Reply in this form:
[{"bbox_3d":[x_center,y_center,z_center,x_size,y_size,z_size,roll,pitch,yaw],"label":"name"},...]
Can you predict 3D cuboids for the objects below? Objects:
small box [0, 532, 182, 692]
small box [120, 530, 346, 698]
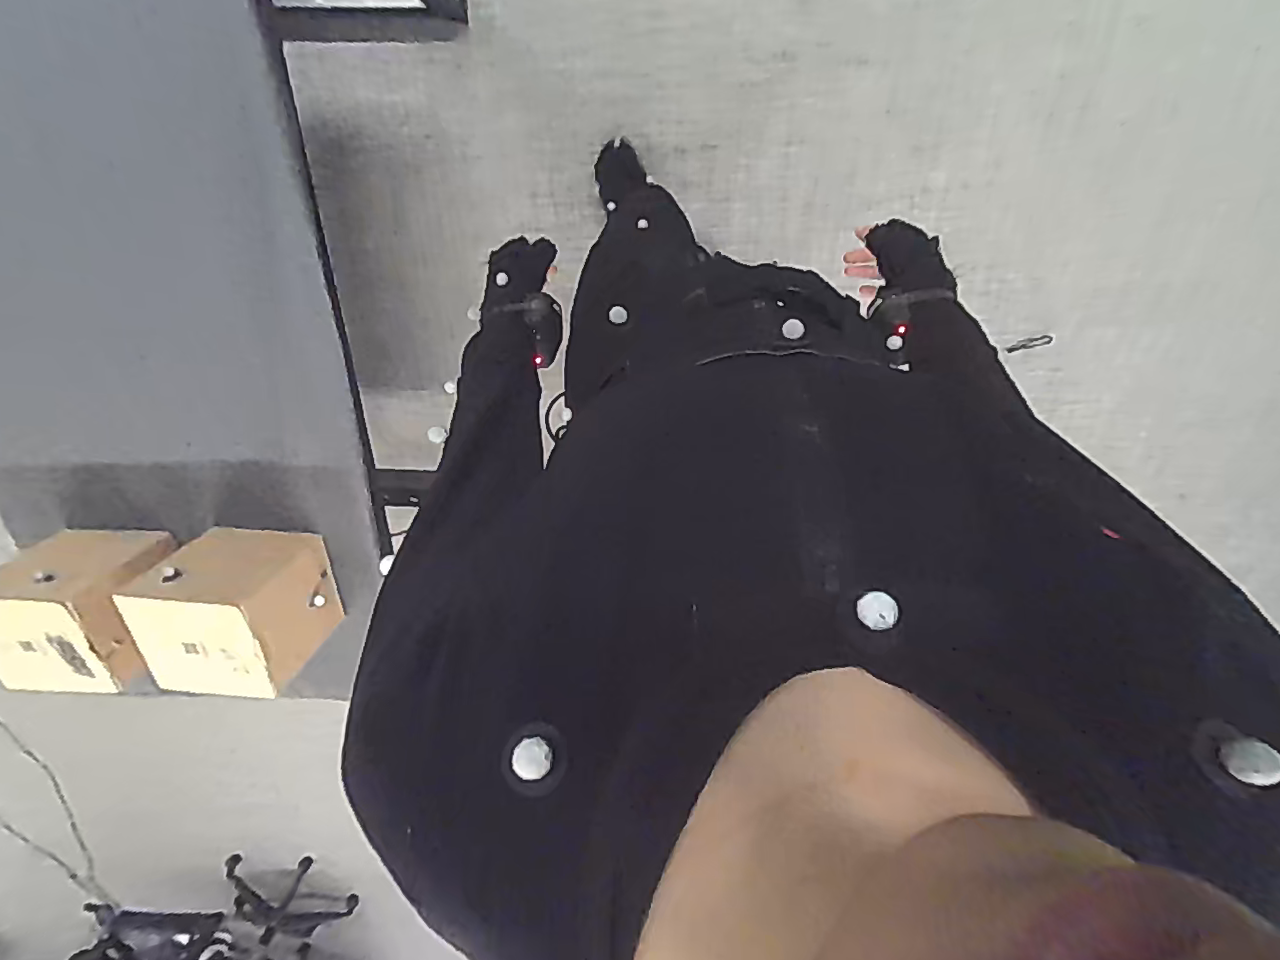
[{"bbox_3d":[-0.806,0.189,0.802,0.179,0.176,0.168,1,117,3],"label":"small box"},{"bbox_3d":[-0.570,0.186,0.785,0.179,0.176,0.168,3,117,3],"label":"small box"}]
